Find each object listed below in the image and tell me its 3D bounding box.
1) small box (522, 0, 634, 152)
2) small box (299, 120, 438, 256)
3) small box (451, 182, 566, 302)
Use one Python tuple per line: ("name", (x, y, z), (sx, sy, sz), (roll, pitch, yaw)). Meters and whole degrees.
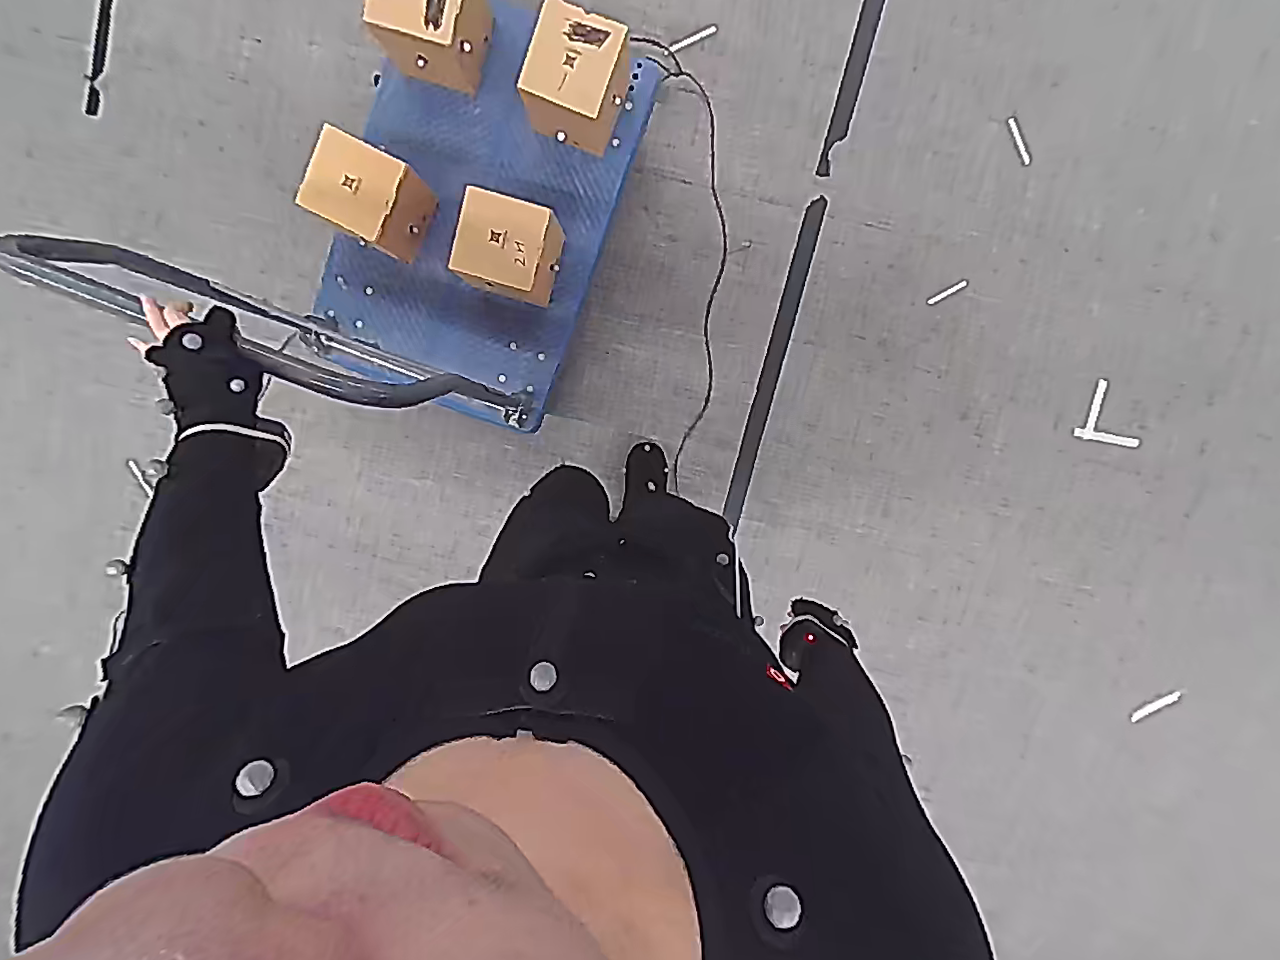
("small box", (-0.119, -0.816, 1.098), (0.168, 0.176, 0.179), (22, 99, -2))
("small box", (-0.560, -0.598, 1.135), (0.179, 0.176, 0.168), (26, 97, -4))
("small box", (-0.270, -0.492, 1.144), (0.179, 0.176, 0.168), (16, 98, -1))
